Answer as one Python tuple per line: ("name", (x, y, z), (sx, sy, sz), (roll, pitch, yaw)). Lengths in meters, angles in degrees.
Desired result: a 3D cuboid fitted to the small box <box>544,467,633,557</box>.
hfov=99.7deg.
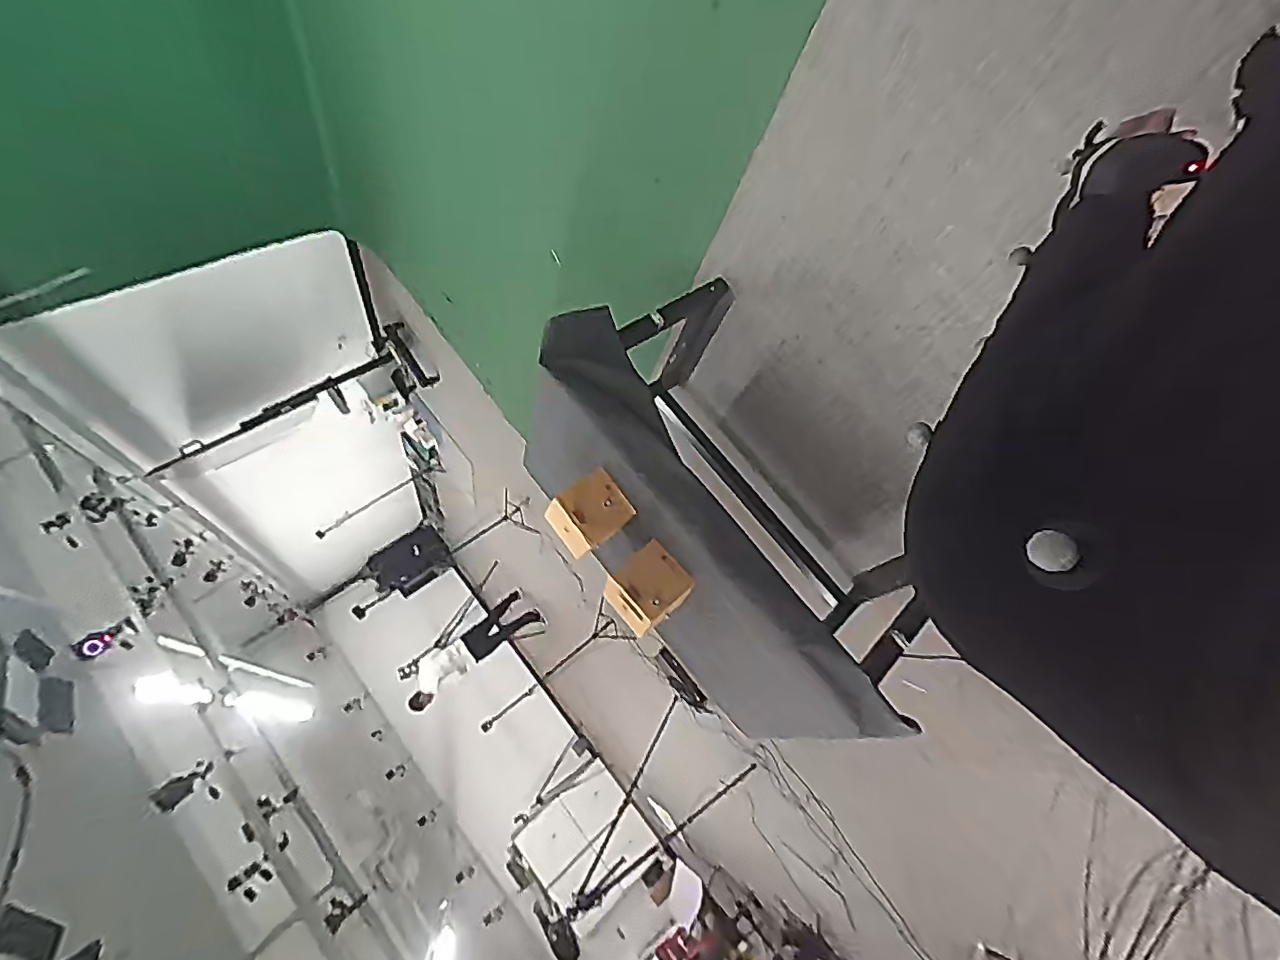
("small box", (-0.144, 0.091, 1.520), (0.168, 0.176, 0.179), (53, 152, 5))
